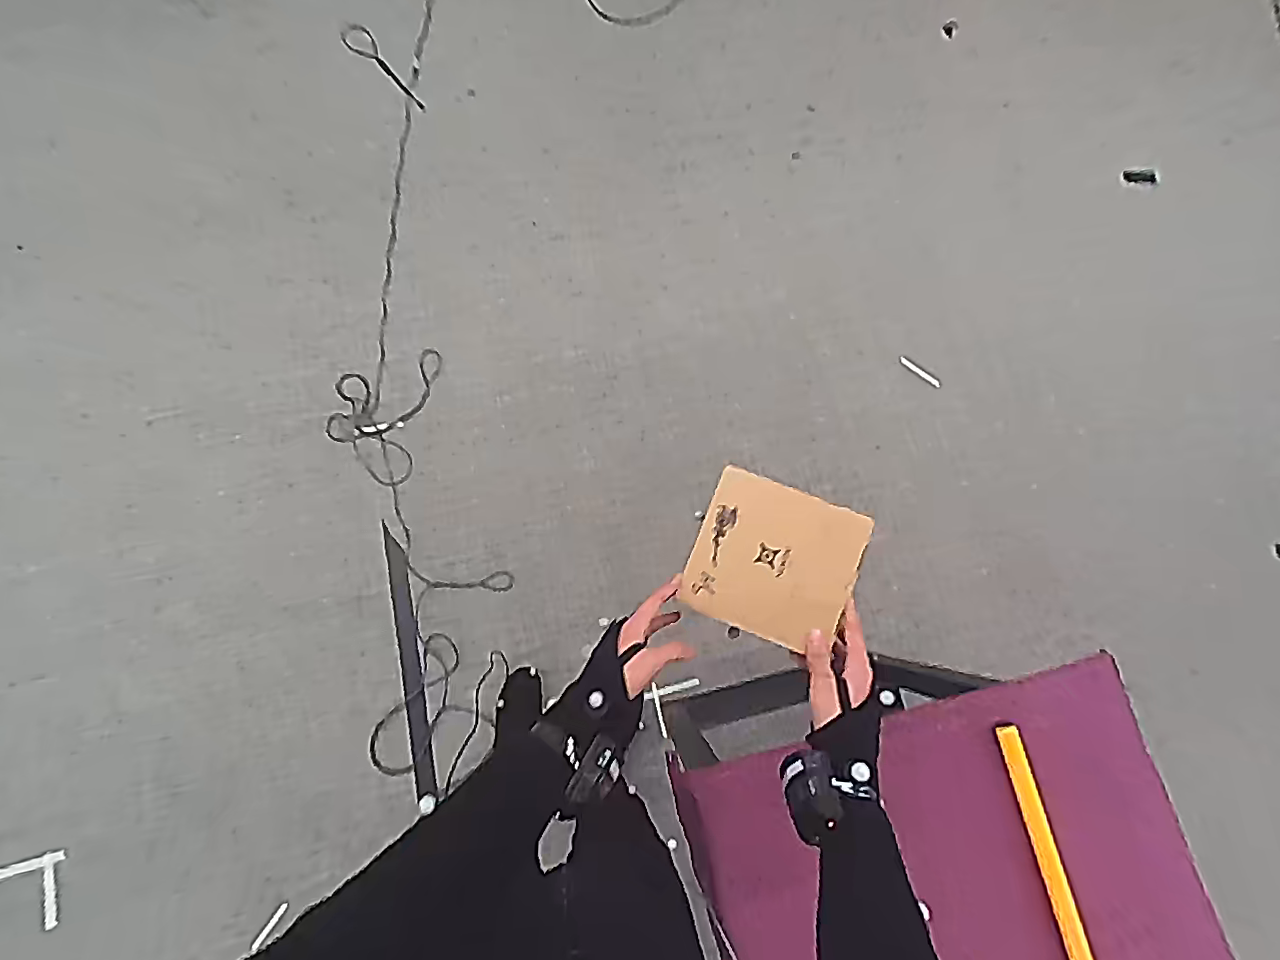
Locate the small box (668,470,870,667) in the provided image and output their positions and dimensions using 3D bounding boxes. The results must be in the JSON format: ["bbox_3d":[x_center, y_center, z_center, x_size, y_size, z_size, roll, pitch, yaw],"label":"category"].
[{"bbox_3d":[0.145,0.105,0.661,0.179,0.176,0.168,21,81,8],"label":"small box"}]
